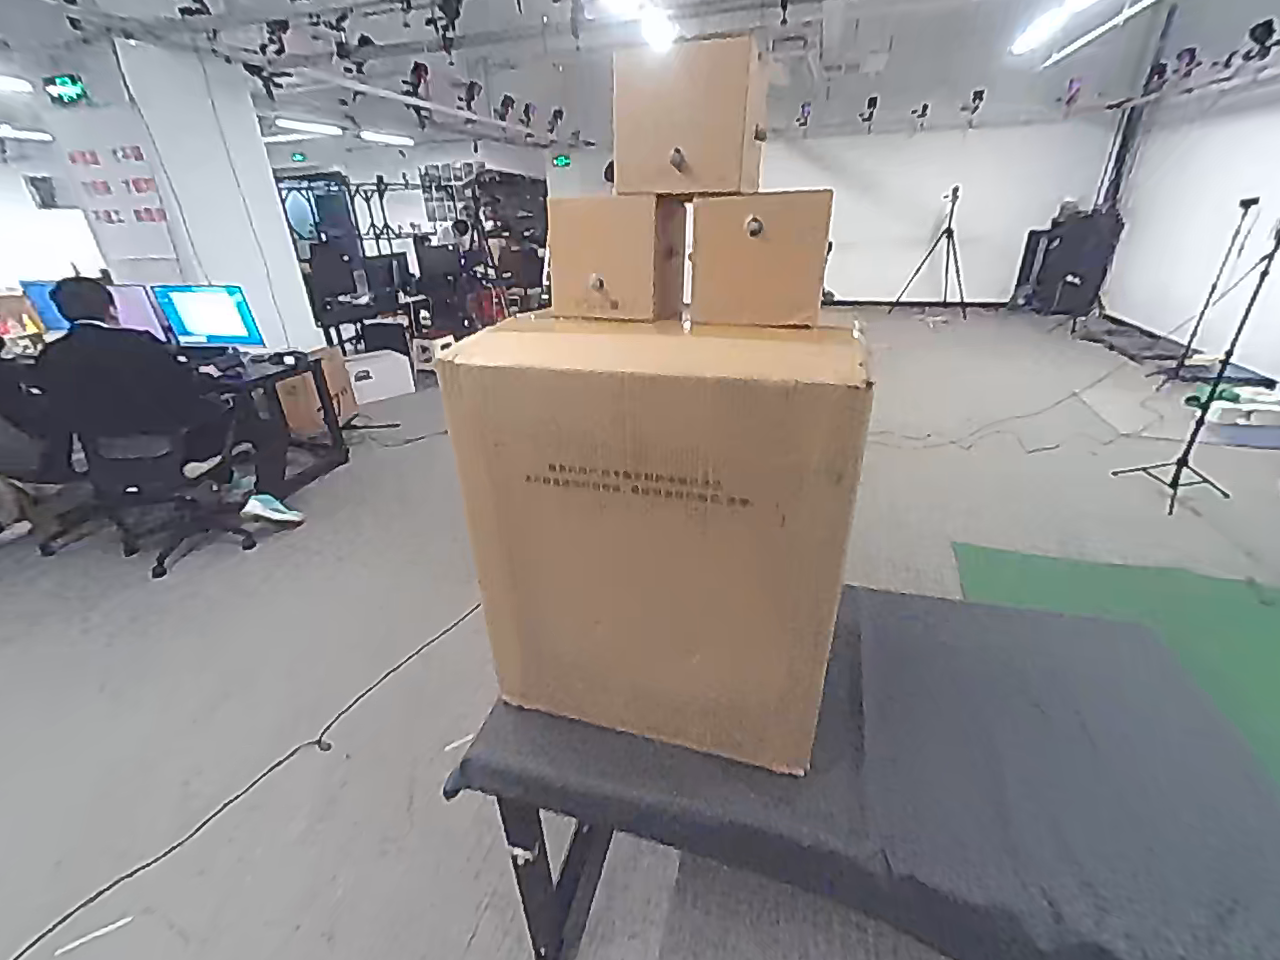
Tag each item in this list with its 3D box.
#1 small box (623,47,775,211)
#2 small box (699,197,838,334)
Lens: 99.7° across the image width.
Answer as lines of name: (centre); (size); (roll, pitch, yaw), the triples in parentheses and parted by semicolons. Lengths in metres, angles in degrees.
small box: (0.084, -0.477, 0.764); (0.179, 0.176, 0.168); (9, 23, 17)
small box: (0.187, -0.310, 0.792); (0.179, 0.176, 0.168); (8, 25, 16)
